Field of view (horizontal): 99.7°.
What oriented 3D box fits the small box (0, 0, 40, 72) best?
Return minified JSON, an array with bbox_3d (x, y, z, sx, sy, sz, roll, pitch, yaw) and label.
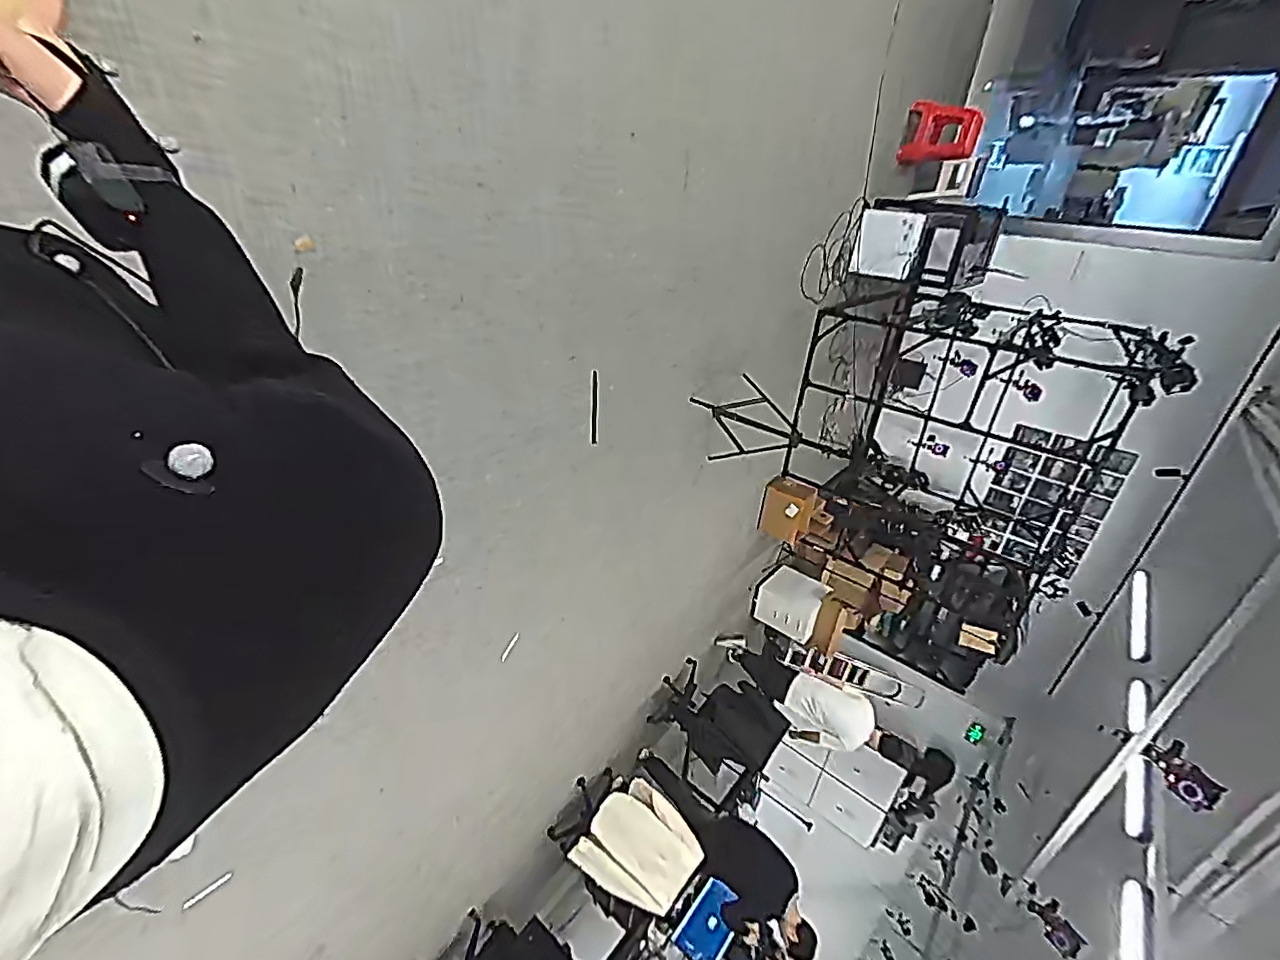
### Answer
[{"bbox_3d":[-0.561,-0.430,0.380,0.168,0.176,0.179,0,106,-59],"label":"small box"}]
